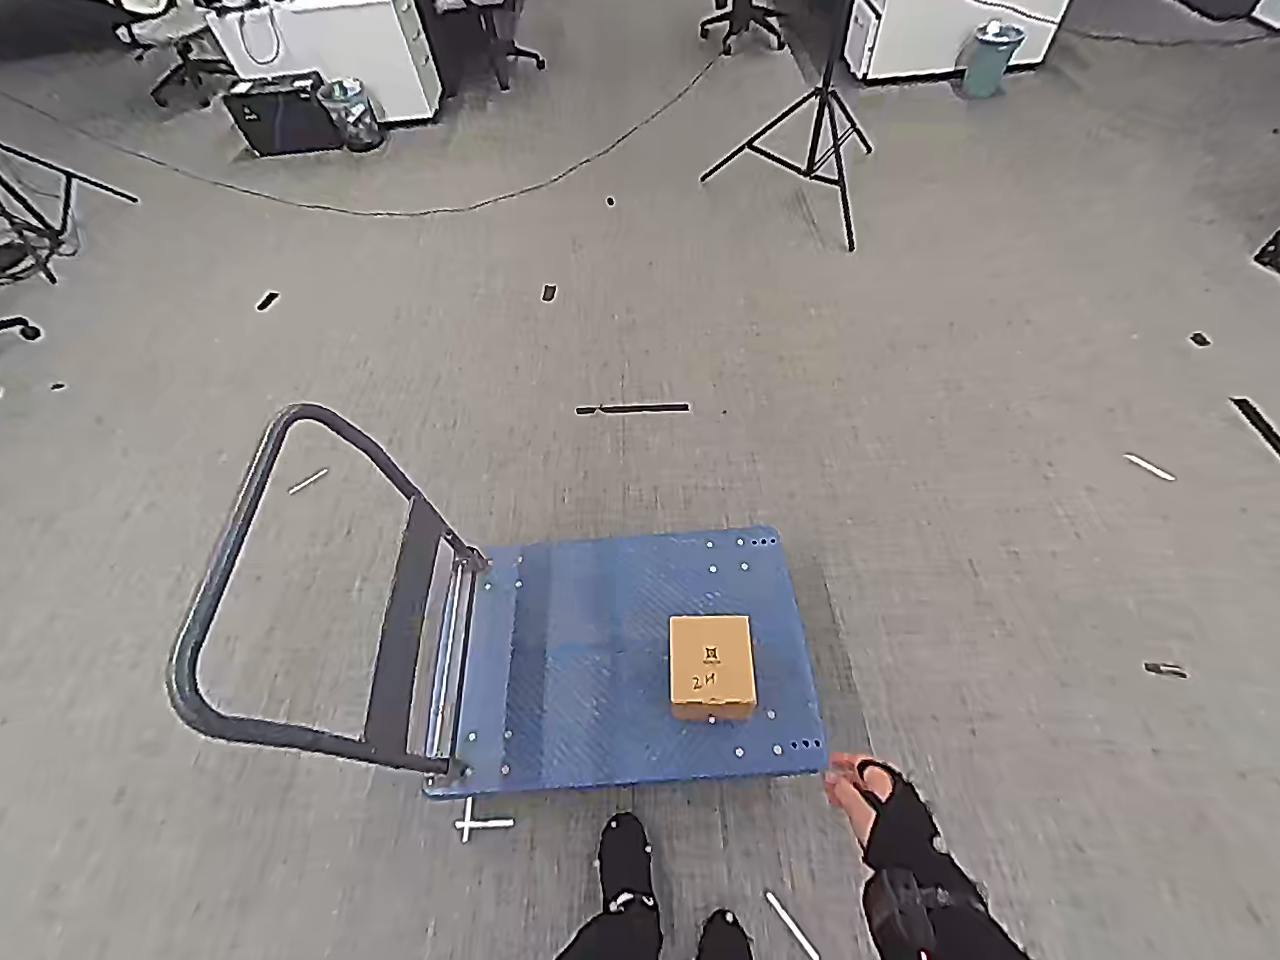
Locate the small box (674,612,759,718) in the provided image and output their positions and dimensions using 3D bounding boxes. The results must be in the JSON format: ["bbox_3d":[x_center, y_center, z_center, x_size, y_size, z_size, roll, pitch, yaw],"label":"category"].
[{"bbox_3d":[0.156,0.396,1.154,0.168,0.176,0.179,-2,56,4],"label":"small box"}]
